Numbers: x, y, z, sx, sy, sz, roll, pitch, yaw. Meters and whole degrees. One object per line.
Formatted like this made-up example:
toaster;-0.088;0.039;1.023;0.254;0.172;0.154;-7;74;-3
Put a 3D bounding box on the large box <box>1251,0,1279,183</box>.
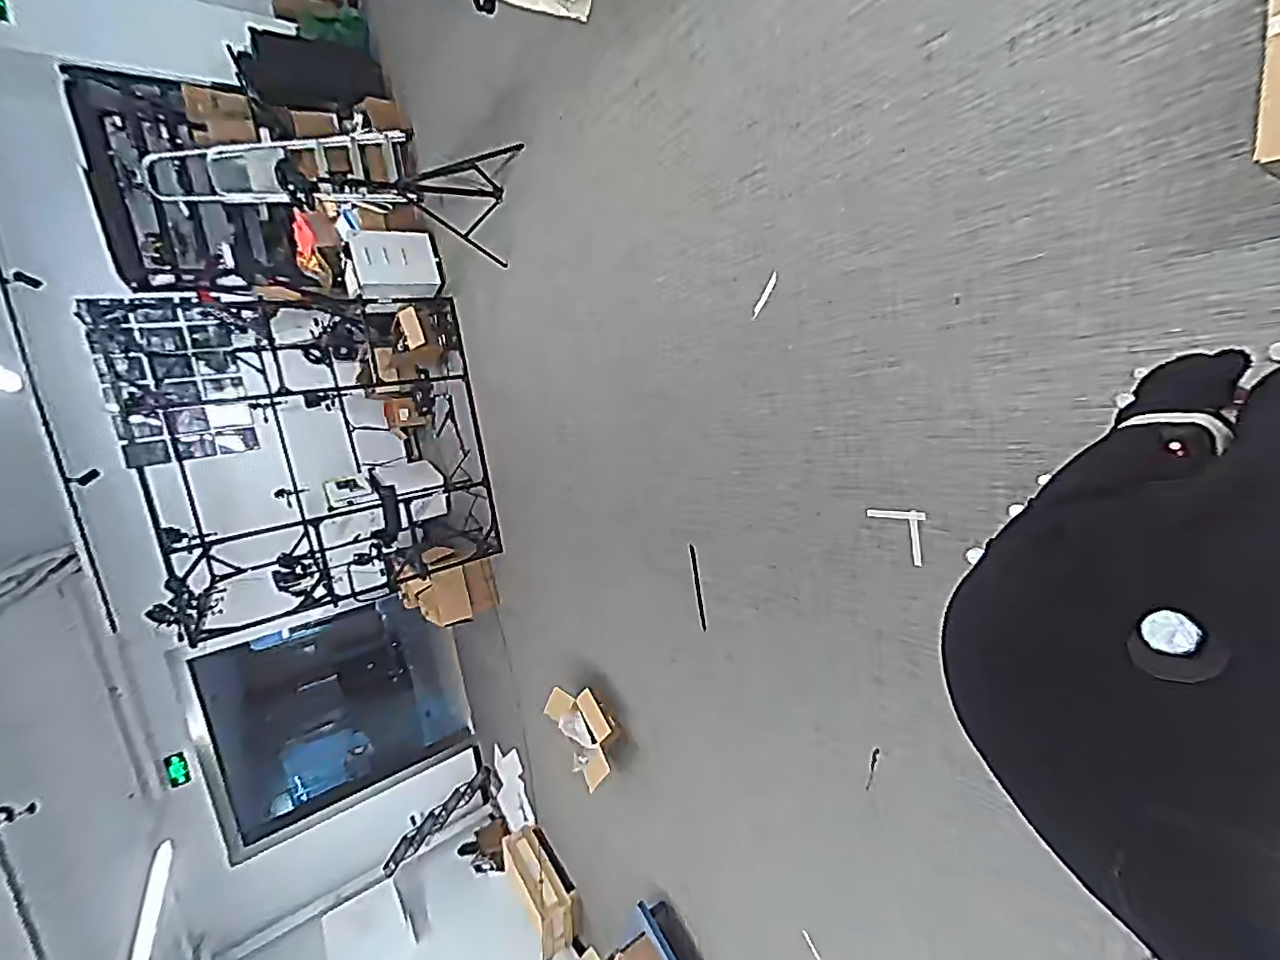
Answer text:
large box;1.010;-0.572;0.602;0.408;0.320;0.320;8;110;54
